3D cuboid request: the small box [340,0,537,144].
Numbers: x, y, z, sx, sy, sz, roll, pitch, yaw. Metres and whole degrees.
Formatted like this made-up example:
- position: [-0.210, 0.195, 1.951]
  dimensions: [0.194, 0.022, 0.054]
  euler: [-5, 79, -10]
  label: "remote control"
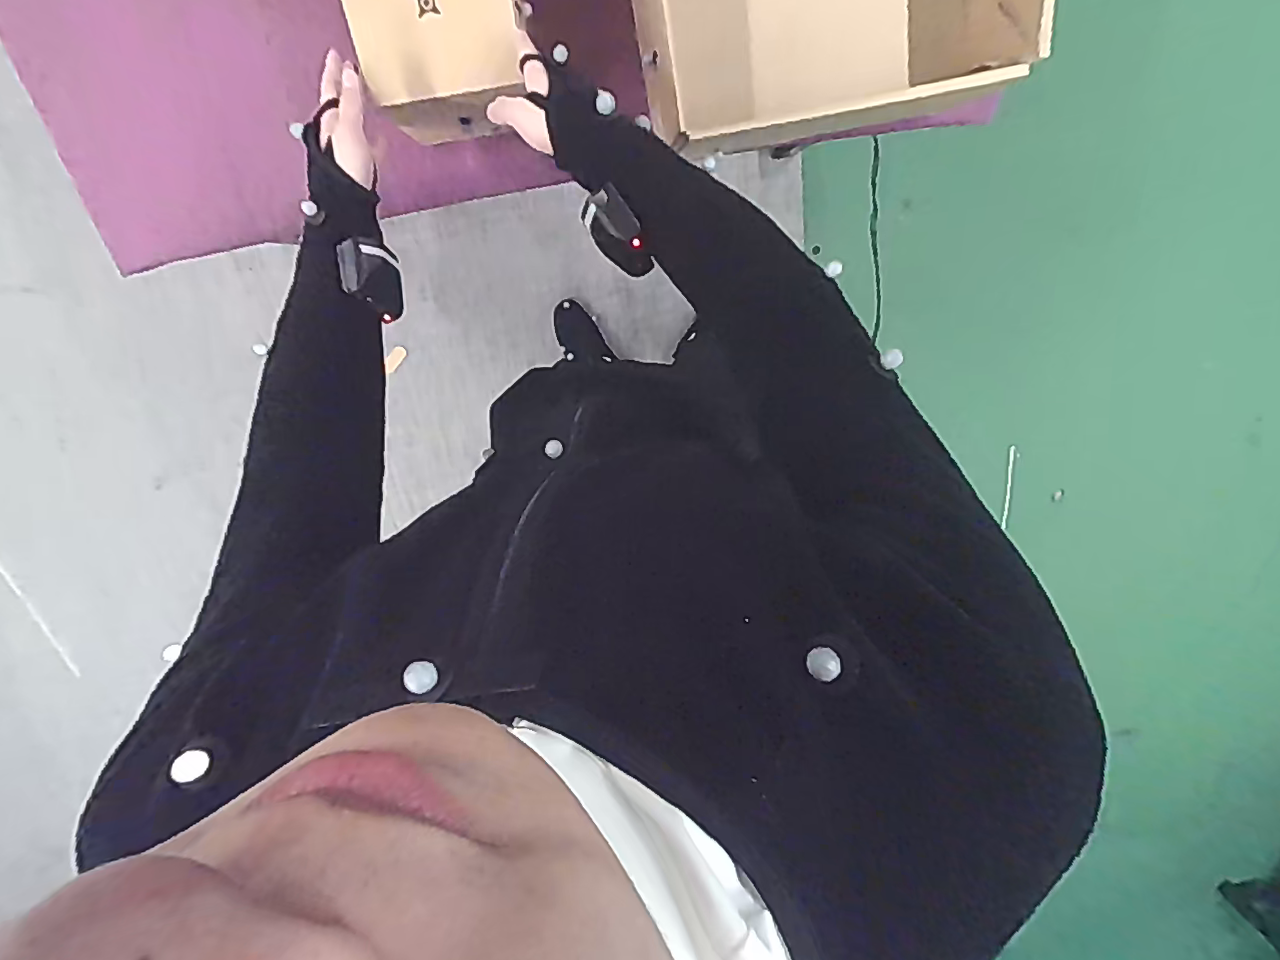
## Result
- position: [-0.219, -0.500, 0.612]
  dimensions: [0.168, 0.176, 0.179]
  euler: [-10, 110, -1]
  label: "small box"
